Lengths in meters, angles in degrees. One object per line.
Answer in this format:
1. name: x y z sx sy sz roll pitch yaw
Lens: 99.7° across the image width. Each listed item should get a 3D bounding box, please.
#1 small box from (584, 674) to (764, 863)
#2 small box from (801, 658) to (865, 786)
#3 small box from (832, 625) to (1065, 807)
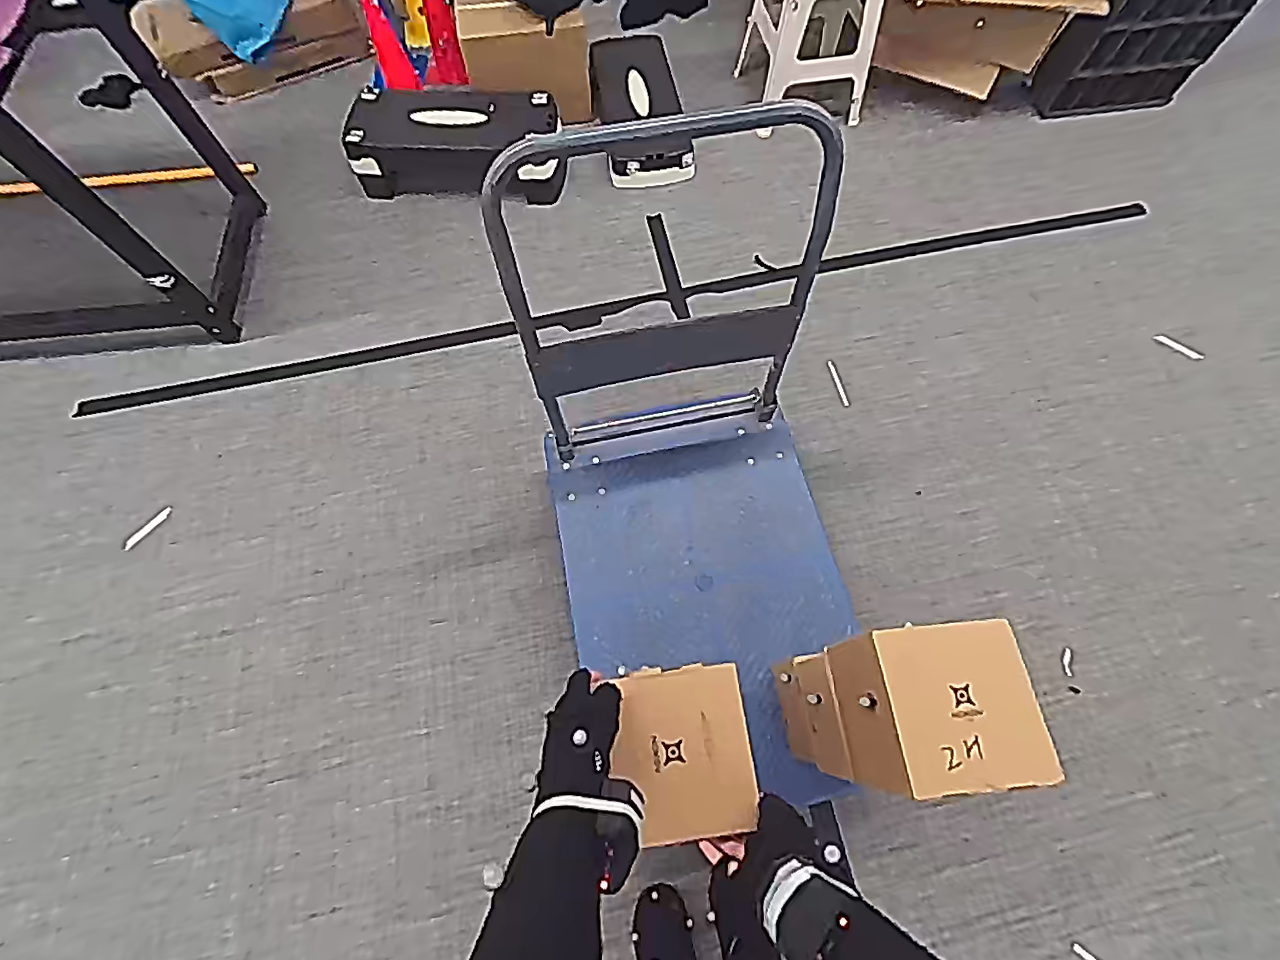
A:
1. small box: 0.034 0.332 0.650 0.179 0.176 0.168 -7 70 -3
2. small box: 0.357 0.356 0.819 0.179 0.176 0.168 -6 67 -3
3. small box: 0.356 0.288 0.668 0.168 0.176 0.179 -5 67 -2
